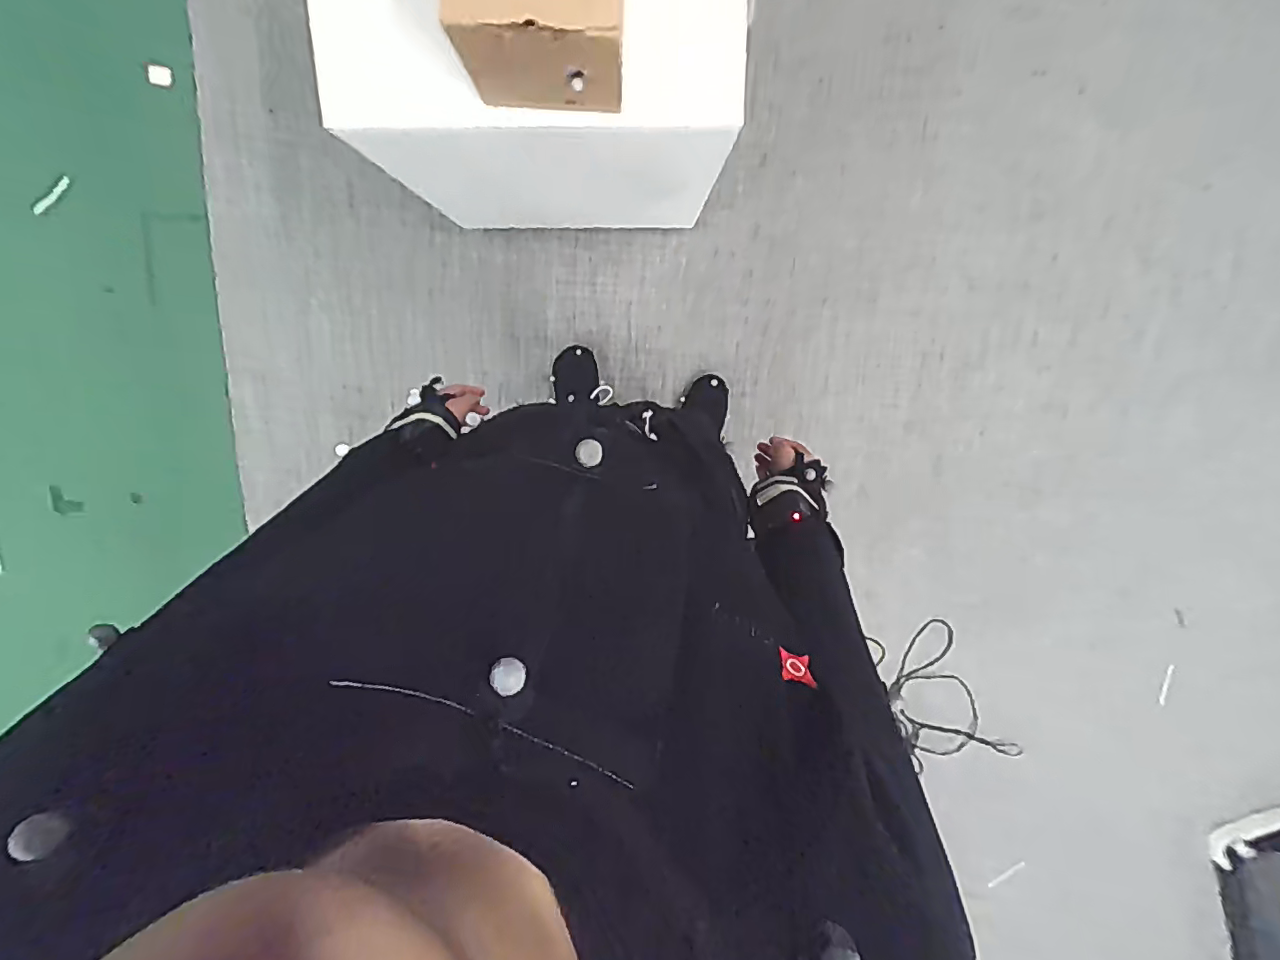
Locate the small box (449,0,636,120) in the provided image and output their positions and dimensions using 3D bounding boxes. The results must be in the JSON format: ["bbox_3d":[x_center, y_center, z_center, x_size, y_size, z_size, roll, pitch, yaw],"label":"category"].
[{"bbox_3d":[-0.088,-0.502,0.555,0.168,0.176,0.179,3,102,-2],"label":"small box"}]
